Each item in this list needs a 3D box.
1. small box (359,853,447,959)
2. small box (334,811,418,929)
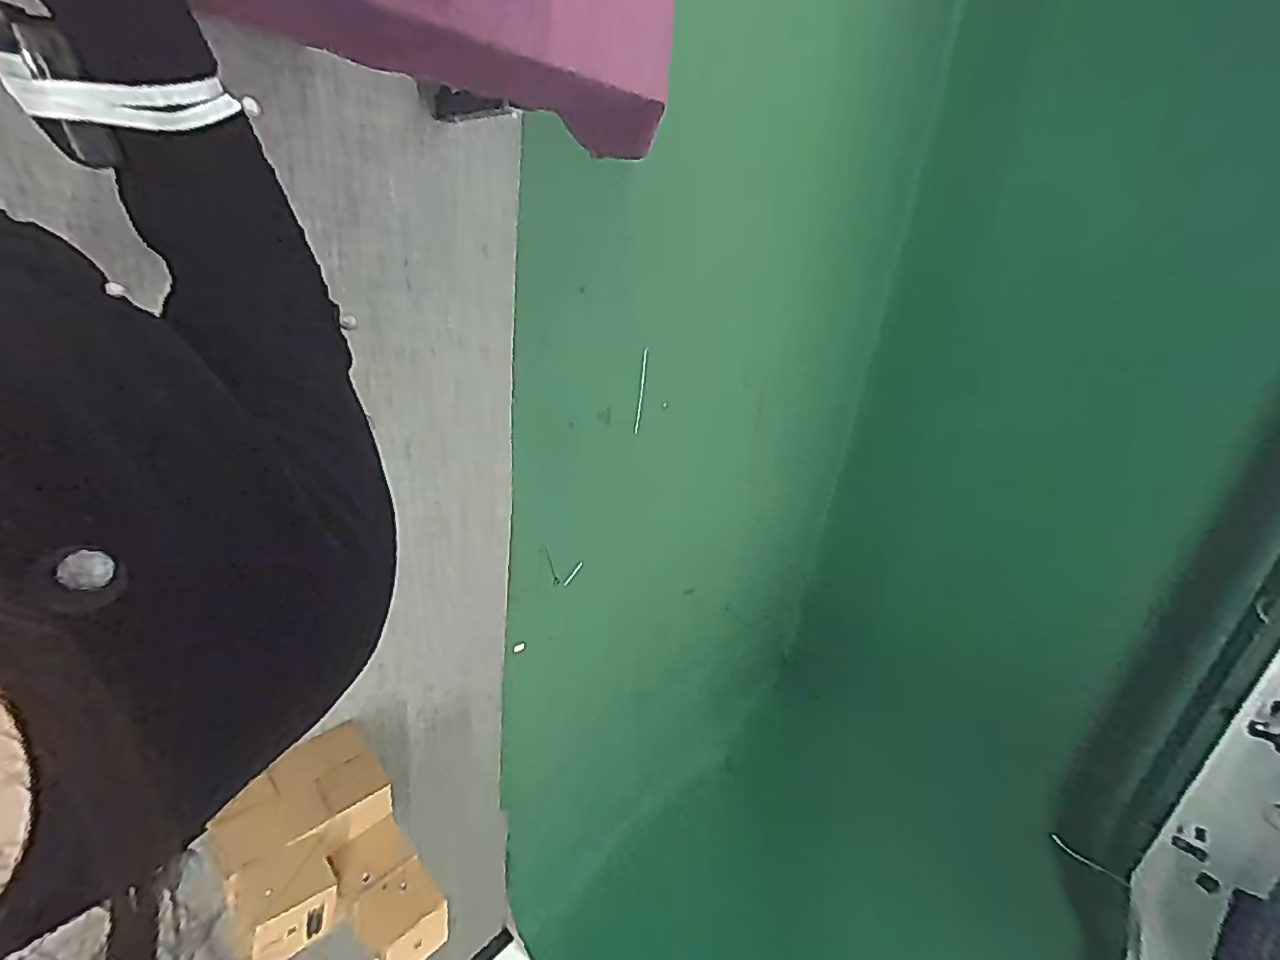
[{"bbox_3d":[-0.644,1.174,1.468,0.168,0.176,0.179,-15,122,-46],"label":"small box"},{"bbox_3d":[-0.764,1.118,1.563,0.179,0.176,0.168,-17,125,-45],"label":"small box"}]
